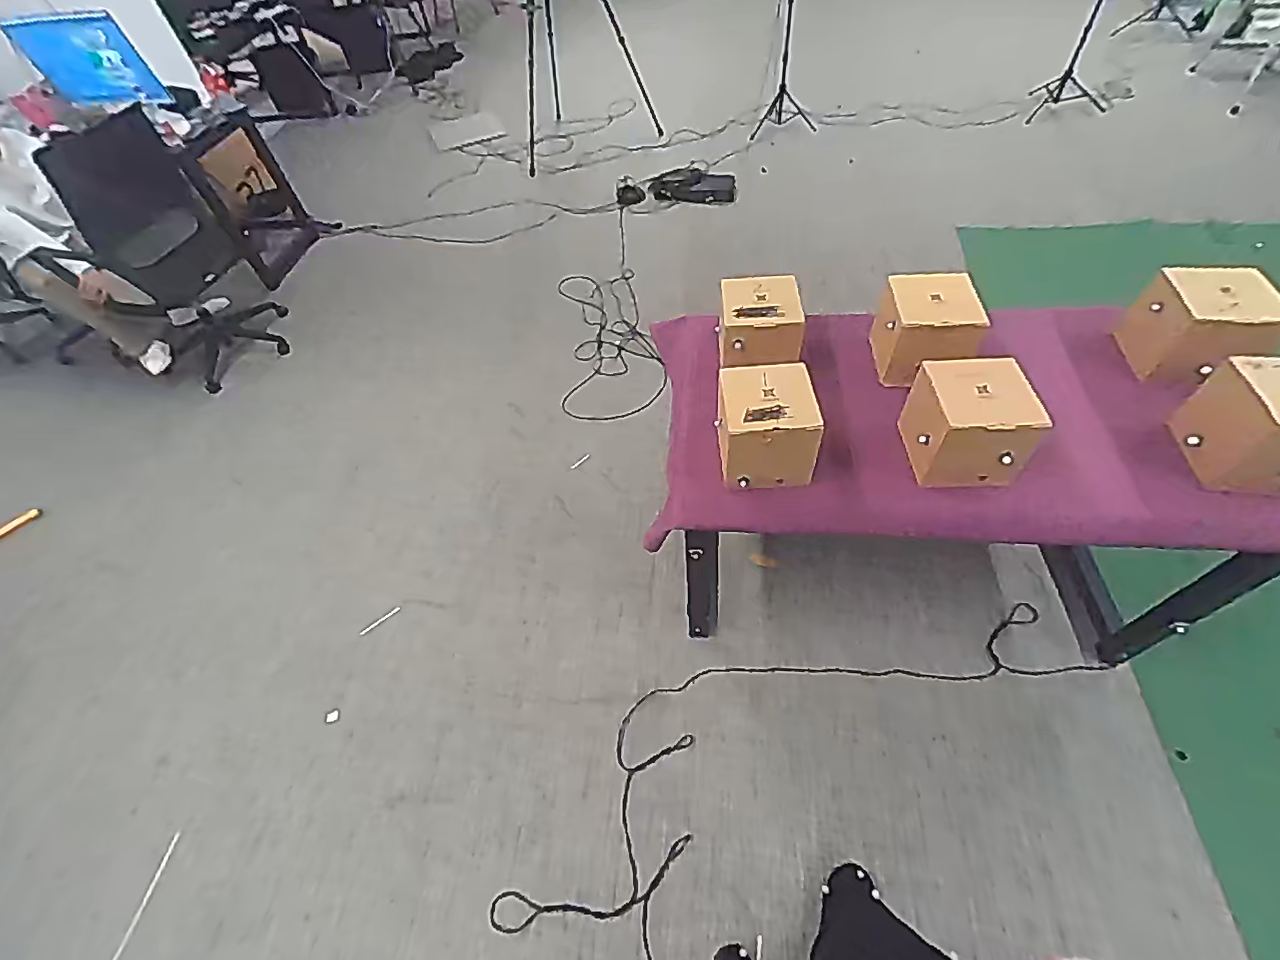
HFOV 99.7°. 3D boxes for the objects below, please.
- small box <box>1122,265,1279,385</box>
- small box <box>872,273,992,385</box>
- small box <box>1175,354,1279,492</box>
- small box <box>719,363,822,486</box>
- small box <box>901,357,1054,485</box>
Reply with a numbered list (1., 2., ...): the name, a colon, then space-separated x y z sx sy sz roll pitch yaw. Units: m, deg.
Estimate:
1. small box: 1.133 -0.312 1.091 0.168 0.176 0.179 4 54 12
2. small box: 0.618 -0.324 1.173 0.168 0.176 0.179 1 54 7
3. small box: 1.093 -0.093 0.926 0.168 0.176 0.179 5 52 11
4. small box: 0.242 -0.099 1.044 0.168 0.176 0.179 -4 50 4
5. small box: 0.609 -0.104 1.002 0.168 0.176 0.179 -1 51 6
